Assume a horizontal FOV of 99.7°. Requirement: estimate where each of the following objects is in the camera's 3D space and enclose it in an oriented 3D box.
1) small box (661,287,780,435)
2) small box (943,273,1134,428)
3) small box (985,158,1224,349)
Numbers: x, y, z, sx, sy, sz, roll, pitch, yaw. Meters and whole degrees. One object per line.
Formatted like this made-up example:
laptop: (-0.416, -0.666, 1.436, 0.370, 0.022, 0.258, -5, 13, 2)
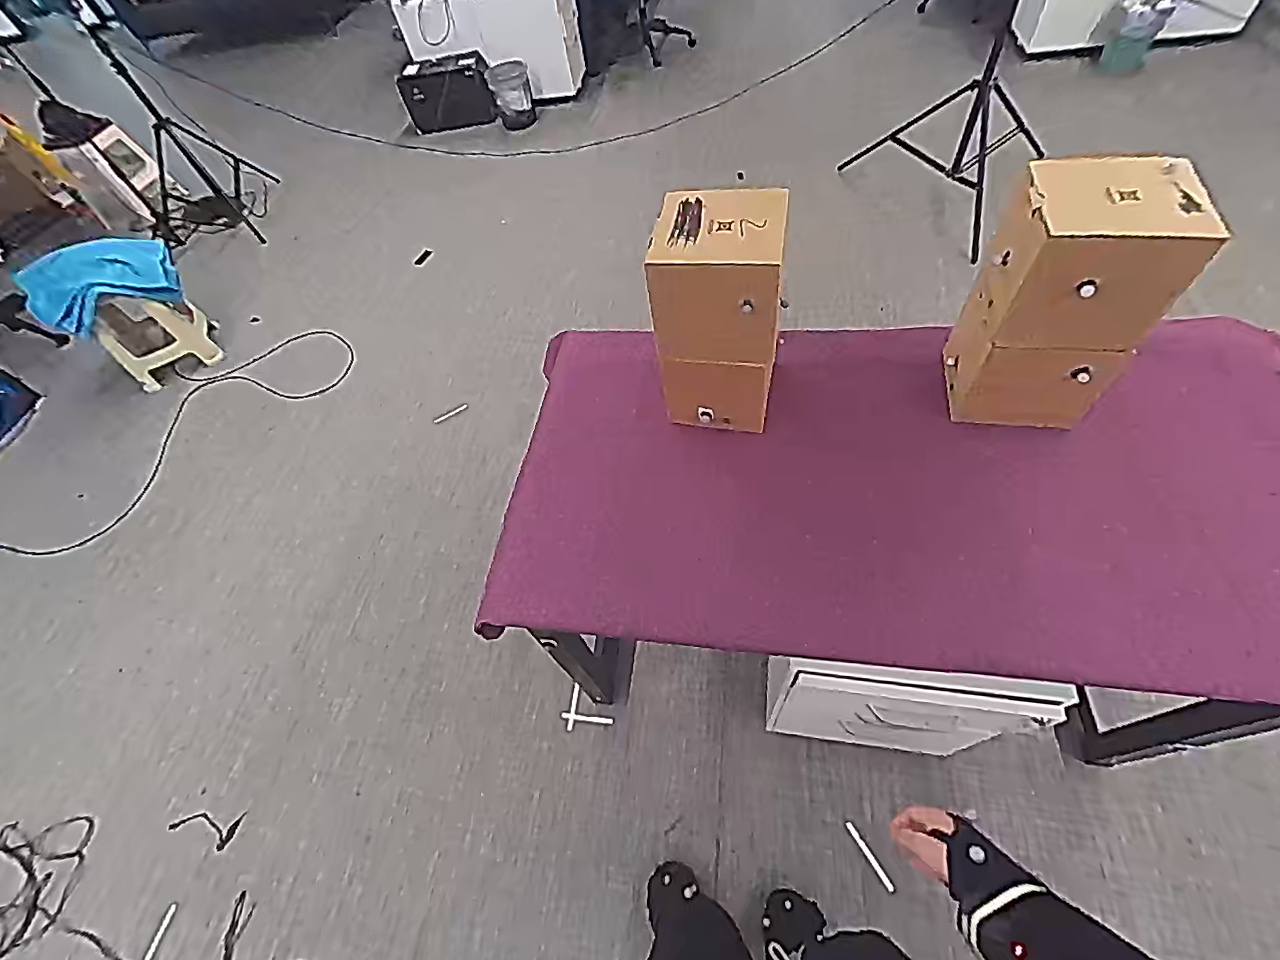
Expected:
small box: (0.140, -0.202, 0.919, 0.168, 0.176, 0.179, 7, 60, 15)
small box: (0.598, -0.197, 0.840, 0.179, 0.176, 0.168, 5, 58, 13)
small box: (0.575, -0.289, 0.706, 0.179, 0.176, 0.168, 6, 59, 14)
